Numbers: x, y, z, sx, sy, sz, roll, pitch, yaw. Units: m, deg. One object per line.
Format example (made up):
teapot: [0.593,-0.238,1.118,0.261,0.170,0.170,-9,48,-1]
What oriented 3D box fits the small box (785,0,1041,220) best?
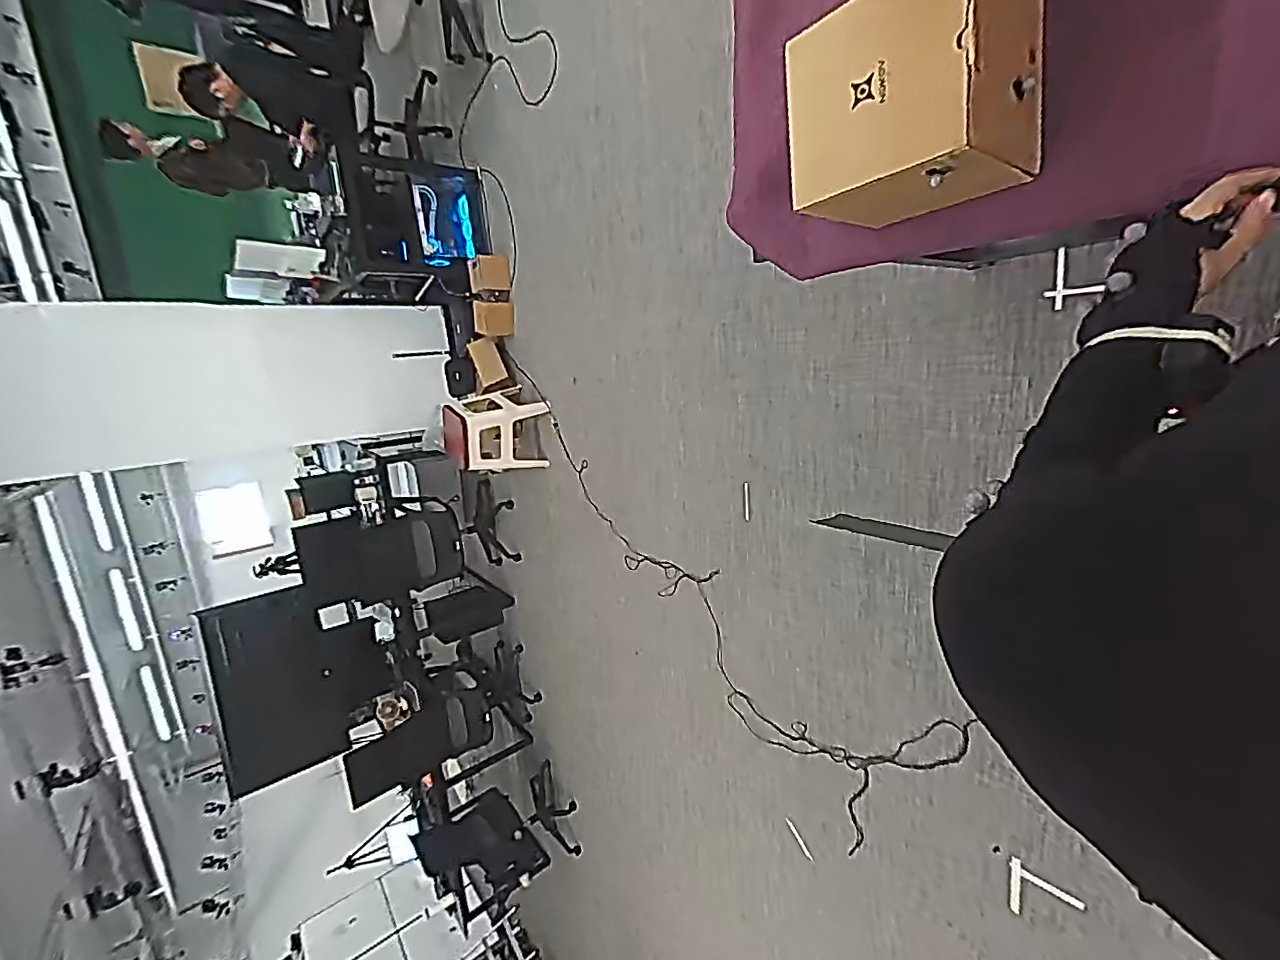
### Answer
small box: [0.272,-0.380,0.548,0.179,0.176,0.168,5,104,52]
